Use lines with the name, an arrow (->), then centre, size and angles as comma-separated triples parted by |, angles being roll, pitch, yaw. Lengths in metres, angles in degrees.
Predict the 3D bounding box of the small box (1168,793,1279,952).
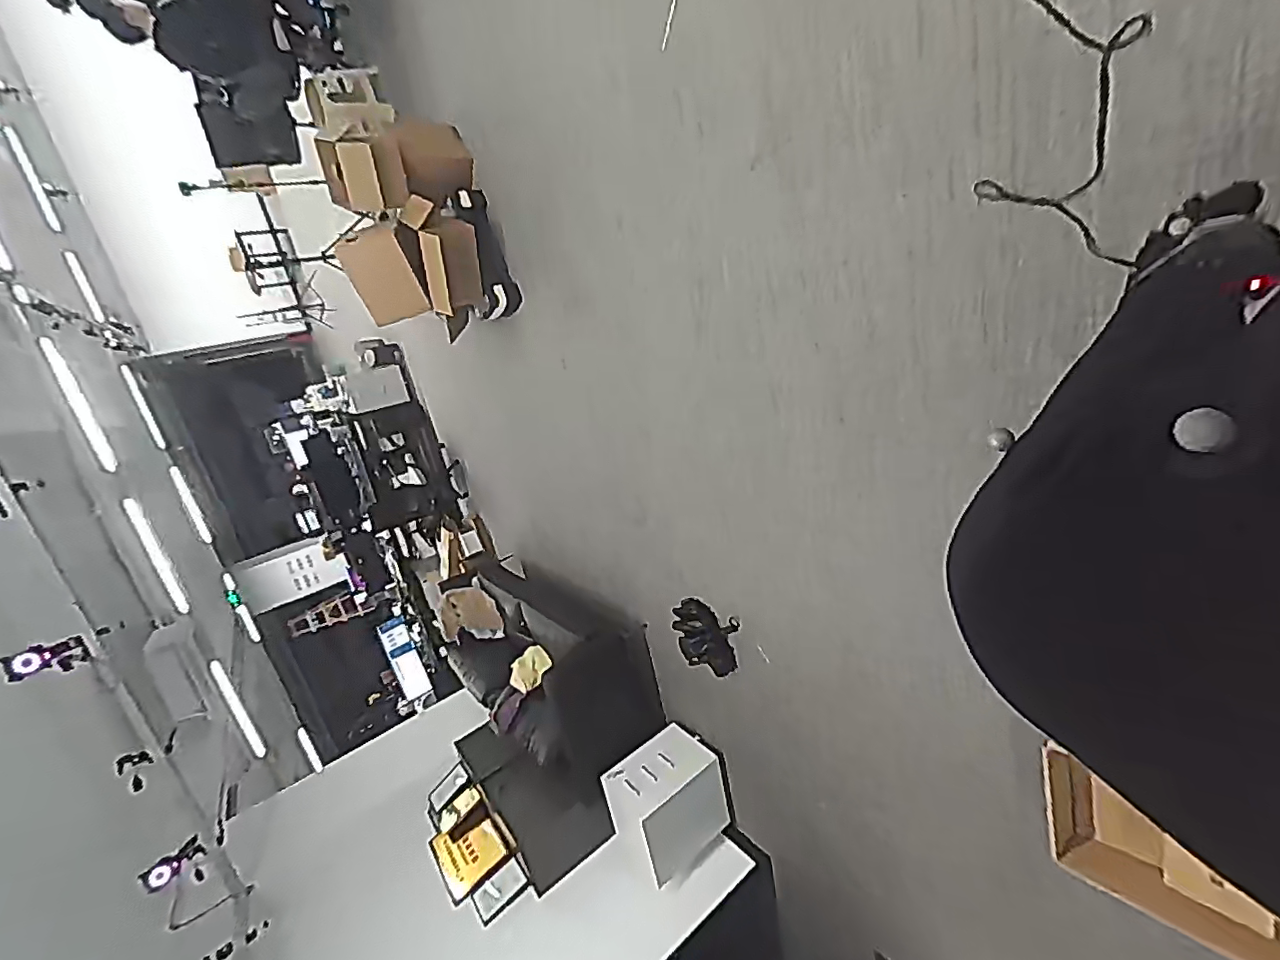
small box -> 1.258, 0.819, 1.151 | 0.168, 0.176, 0.179 | 7, 117, 55
